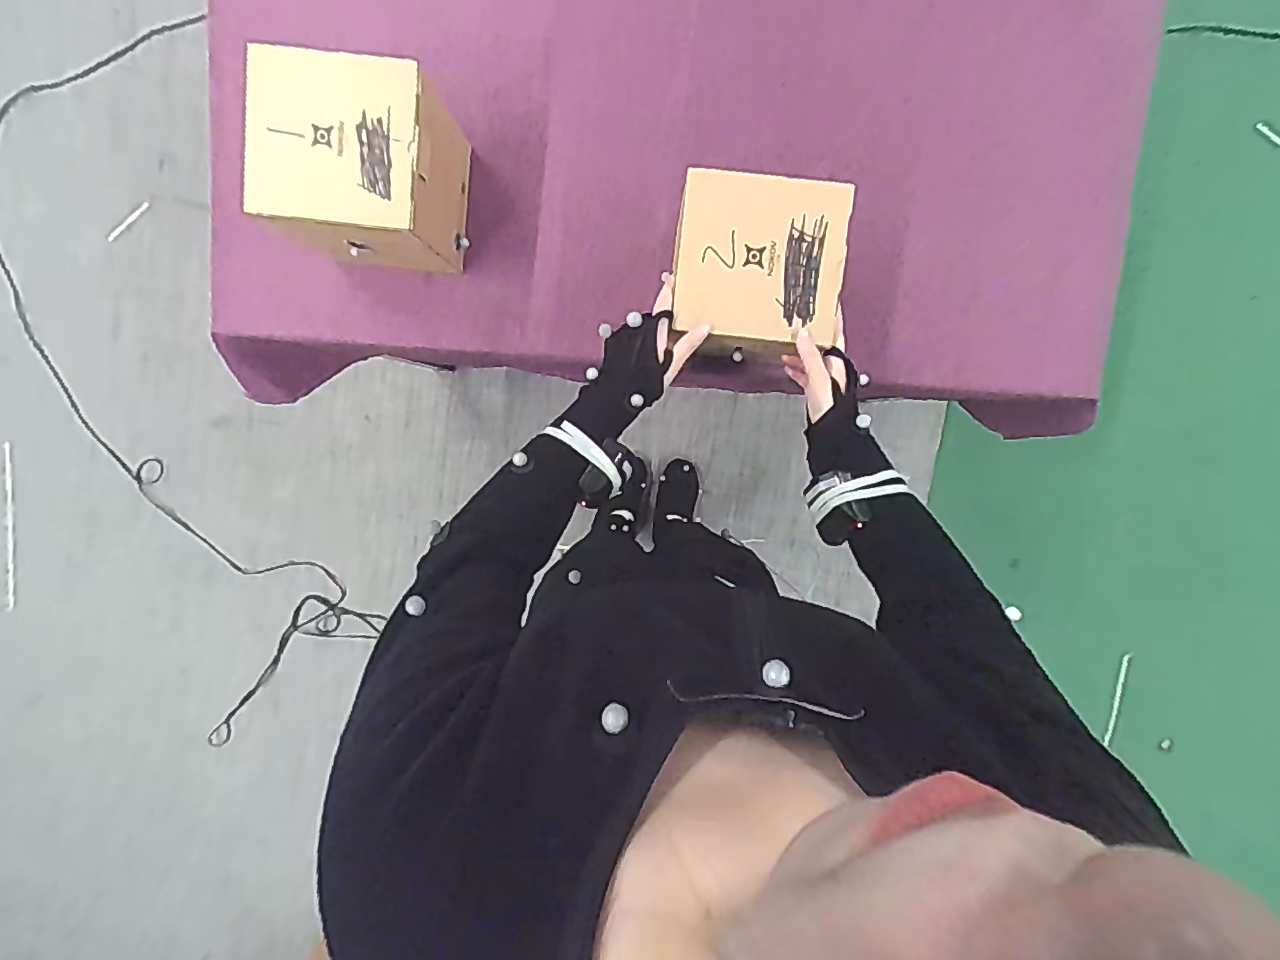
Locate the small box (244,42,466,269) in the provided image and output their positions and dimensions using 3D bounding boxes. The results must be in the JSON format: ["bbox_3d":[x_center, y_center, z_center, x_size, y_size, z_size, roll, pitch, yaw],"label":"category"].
[{"bbox_3d":[-0.314,-0.357,0.630,0.179,0.176,0.168,6,96,0],"label":"small box"}]
